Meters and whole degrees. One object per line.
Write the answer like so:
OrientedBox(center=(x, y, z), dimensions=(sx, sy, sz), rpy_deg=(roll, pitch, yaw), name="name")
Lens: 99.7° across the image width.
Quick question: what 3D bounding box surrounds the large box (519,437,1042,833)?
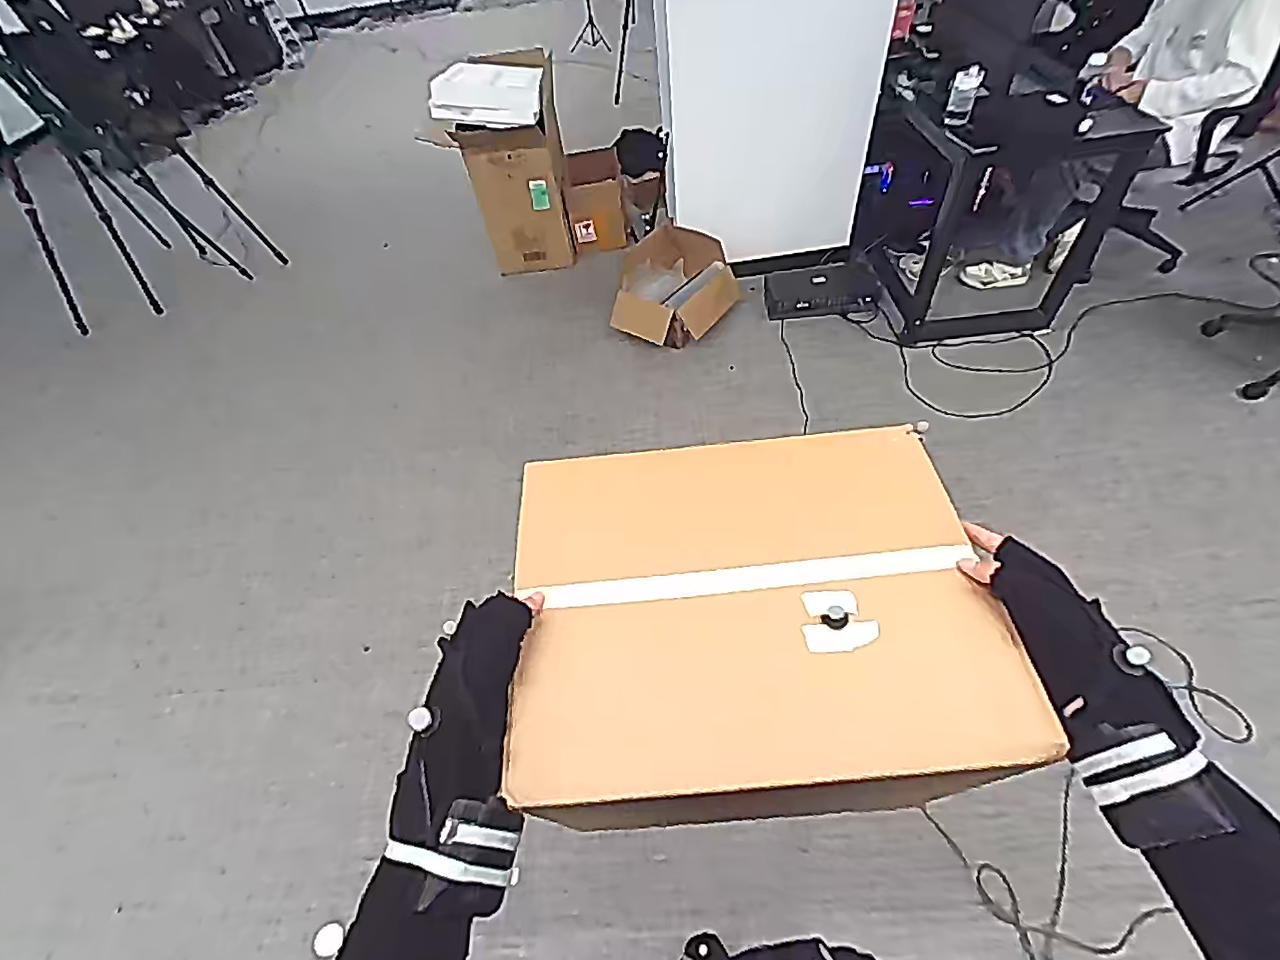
OrientedBox(center=(0.102, 0.185, 0.609), dimensions=(0.408, 0.320, 0.320), rpy_deg=(-6, 54, 1), name="large box")
